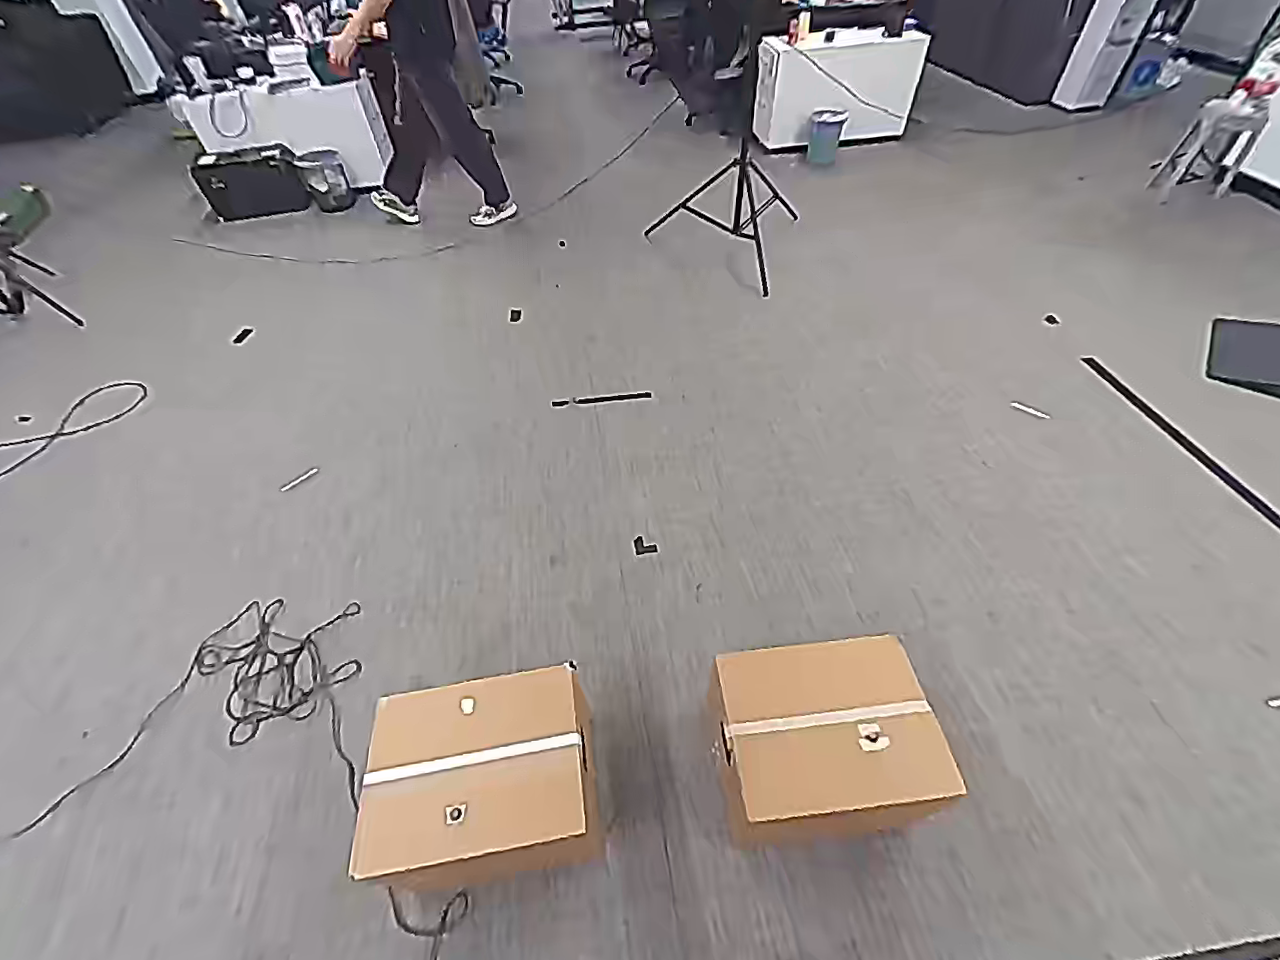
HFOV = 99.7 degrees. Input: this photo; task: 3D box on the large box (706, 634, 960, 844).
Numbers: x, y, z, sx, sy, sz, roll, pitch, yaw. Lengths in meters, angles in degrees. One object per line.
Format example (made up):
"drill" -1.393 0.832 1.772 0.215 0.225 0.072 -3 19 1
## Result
"large box" 0.379 0.569 1.185 0.408 0.320 0.320 -5 49 -3
